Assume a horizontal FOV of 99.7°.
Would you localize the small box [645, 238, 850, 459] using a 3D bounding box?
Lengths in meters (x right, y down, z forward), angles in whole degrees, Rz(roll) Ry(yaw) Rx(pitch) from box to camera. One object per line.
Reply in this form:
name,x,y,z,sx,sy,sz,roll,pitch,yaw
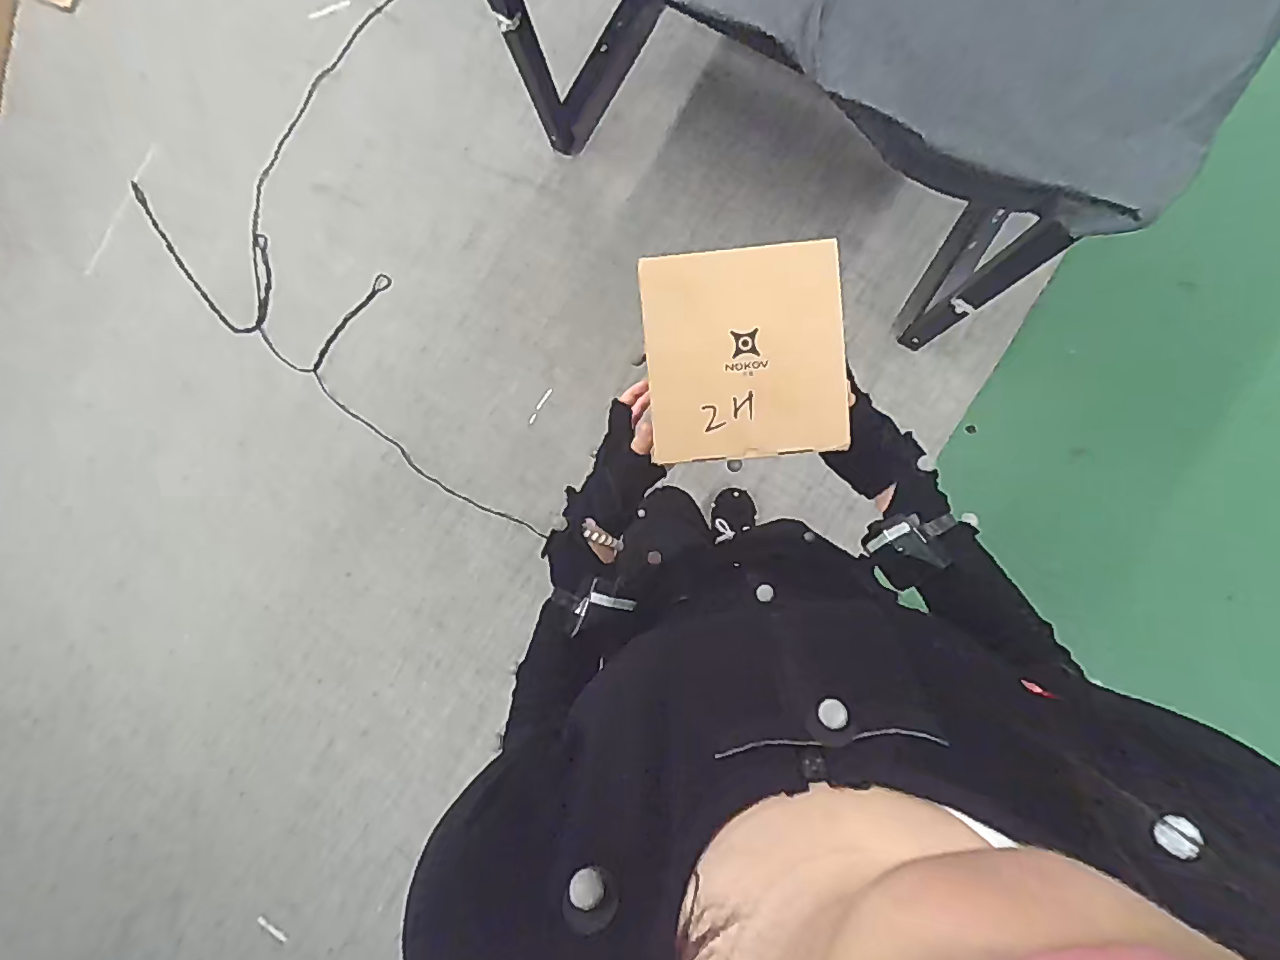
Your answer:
small box,0.091,-0.112,0.530,0.168,0.176,0.179,-4,94,2
